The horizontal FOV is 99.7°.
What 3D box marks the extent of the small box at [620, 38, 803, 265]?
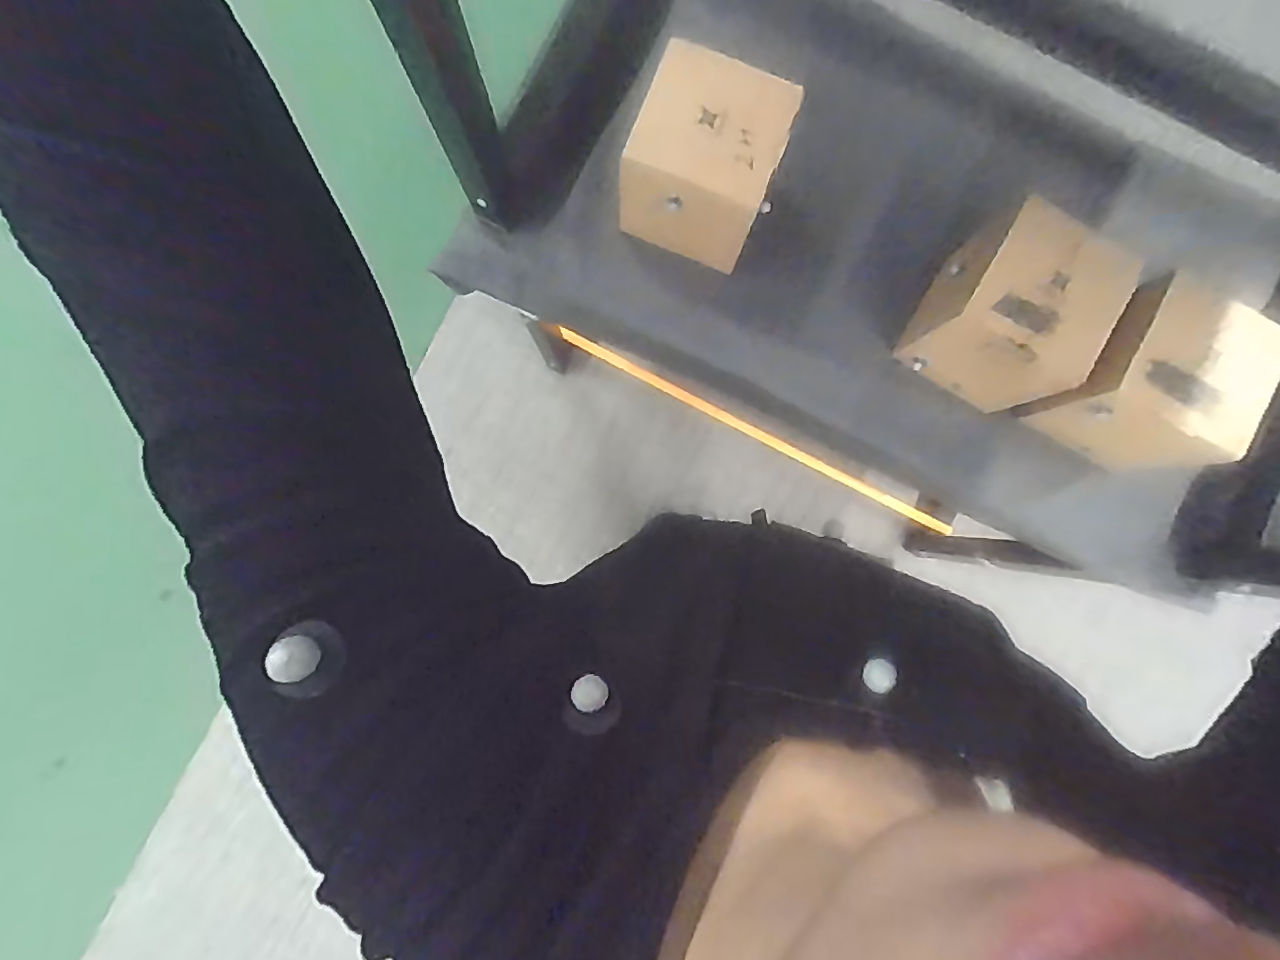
[{"bbox_3d":[0.083,-0.416,0.717,0.179,0.176,0.168,22,86,0],"label":"small box"}]
